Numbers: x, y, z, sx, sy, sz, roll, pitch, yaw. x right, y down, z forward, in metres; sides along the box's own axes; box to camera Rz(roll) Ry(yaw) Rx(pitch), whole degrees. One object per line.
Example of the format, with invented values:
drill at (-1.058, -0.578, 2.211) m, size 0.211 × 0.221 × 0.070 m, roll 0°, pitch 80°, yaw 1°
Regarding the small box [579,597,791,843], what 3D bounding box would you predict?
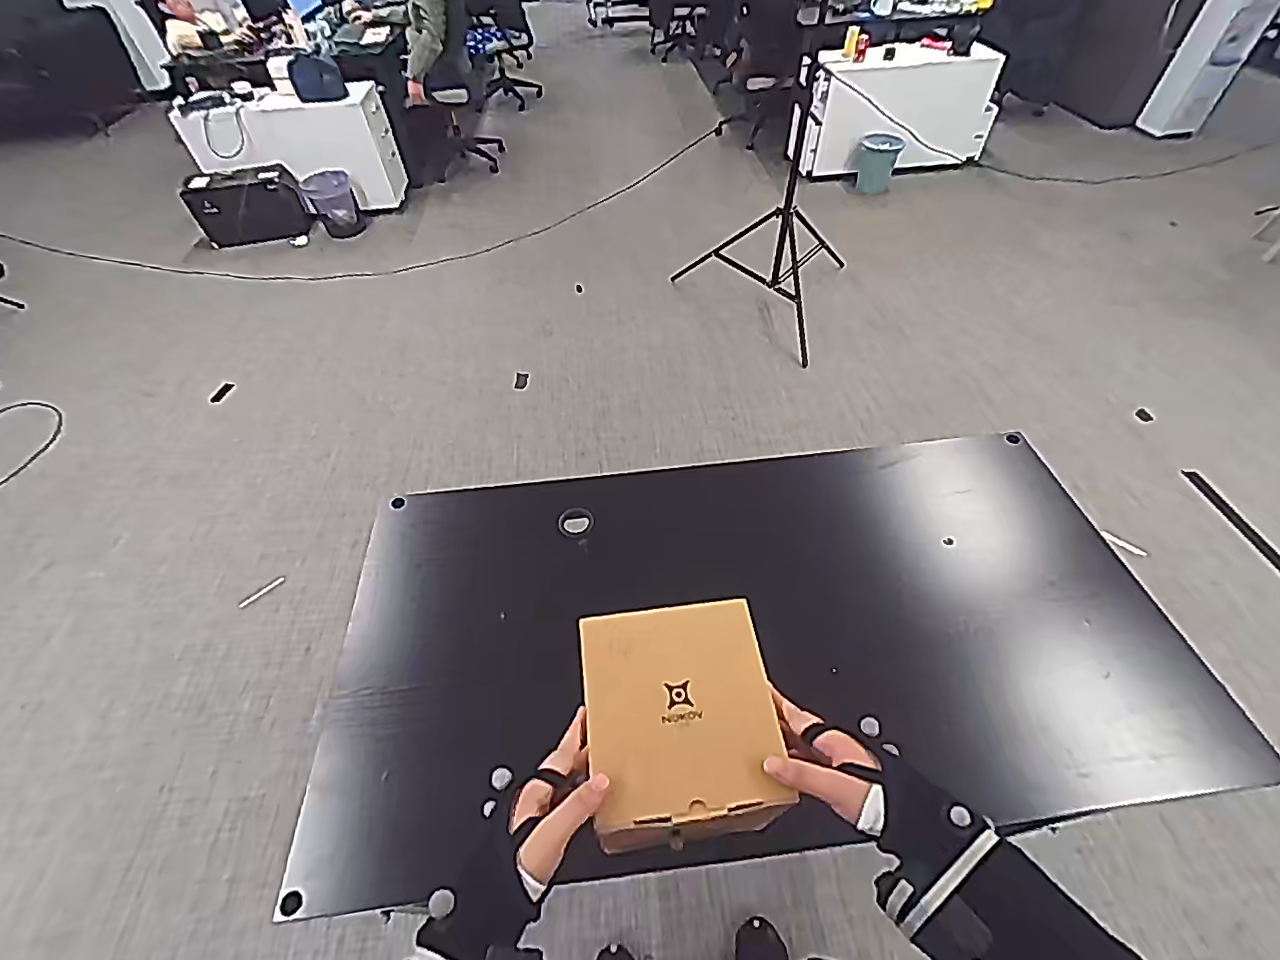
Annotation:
small box at (0.030, 0.240, 0.538) m, size 0.168 × 0.176 × 0.179 m, roll -6°, pitch 53°, yaw -5°
